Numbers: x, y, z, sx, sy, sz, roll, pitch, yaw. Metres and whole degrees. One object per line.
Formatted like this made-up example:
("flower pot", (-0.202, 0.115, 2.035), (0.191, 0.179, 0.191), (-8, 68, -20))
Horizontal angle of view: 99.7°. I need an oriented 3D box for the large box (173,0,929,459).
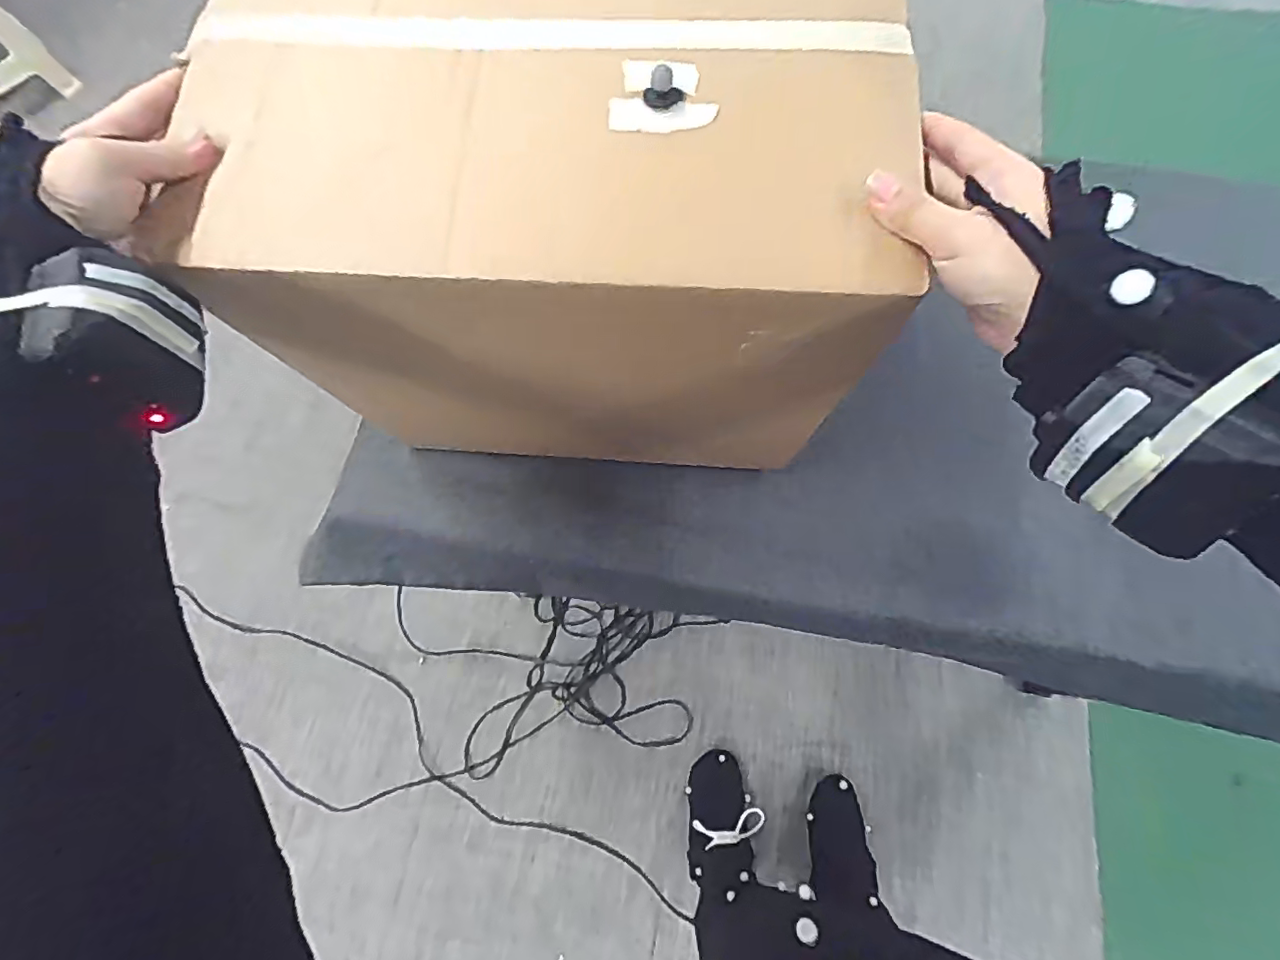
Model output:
("large box", (-0.042, -0.213, 0.461), (0.408, 0.320, 0.320), (4, 76, 1))
